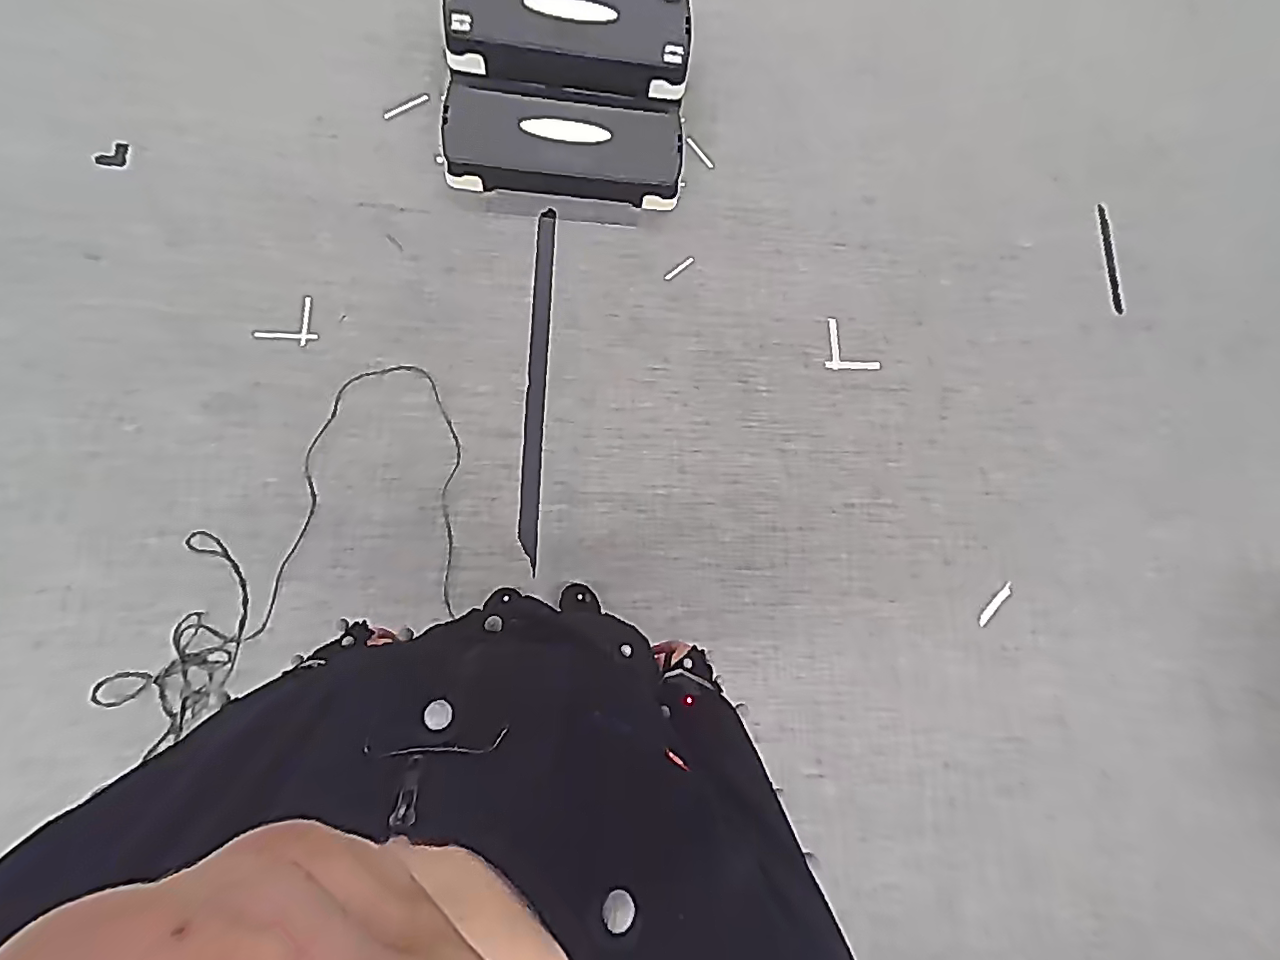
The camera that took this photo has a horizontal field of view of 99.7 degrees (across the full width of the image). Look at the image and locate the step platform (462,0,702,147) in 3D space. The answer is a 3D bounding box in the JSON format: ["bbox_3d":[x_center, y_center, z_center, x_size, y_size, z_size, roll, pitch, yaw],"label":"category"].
[{"bbox_3d":[-0.162,-1.214,1.578,0.684,0.204,0.286,7,78,-7],"label":"step platform"}]
